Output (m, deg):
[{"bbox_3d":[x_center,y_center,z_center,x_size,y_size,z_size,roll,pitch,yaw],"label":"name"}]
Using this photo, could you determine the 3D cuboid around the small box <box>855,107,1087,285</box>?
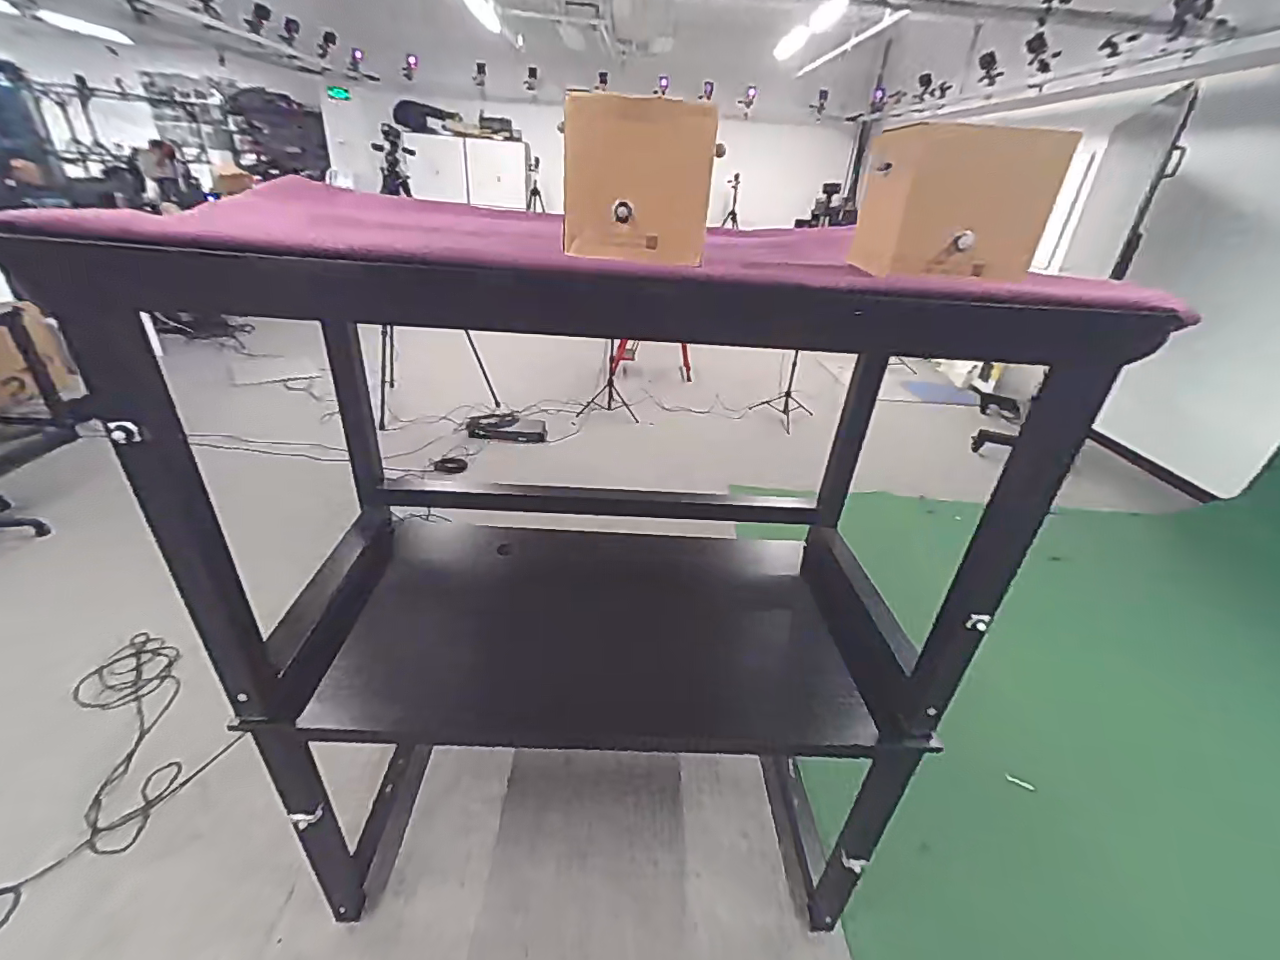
[{"bbox_3d":[0.388,-0.352,0.678,0.168,0.176,0.179,5,31,2],"label":"small box"}]

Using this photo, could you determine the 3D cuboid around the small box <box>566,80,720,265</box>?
[{"bbox_3d":[0.002,-0.373,0.672,0.168,0.176,0.179,5,29,1],"label":"small box"}]
